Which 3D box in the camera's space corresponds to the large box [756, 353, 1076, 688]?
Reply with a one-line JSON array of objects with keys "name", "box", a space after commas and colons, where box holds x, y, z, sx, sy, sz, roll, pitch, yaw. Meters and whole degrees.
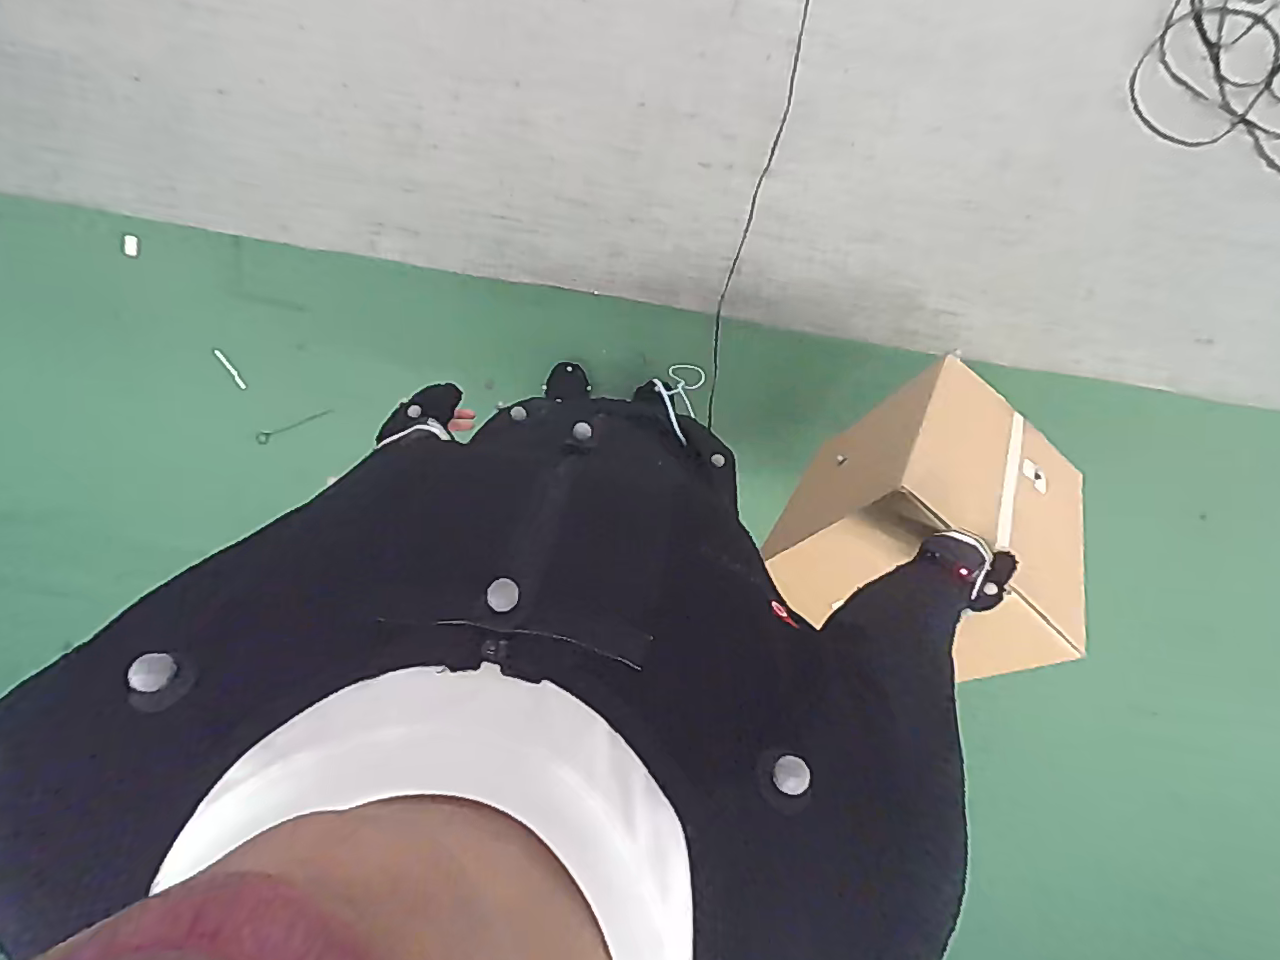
[{"name": "large box", "box": [0.459, 0.067, 0.909, 0.320, 0.408, 0.320, 44, 139, -2]}]
